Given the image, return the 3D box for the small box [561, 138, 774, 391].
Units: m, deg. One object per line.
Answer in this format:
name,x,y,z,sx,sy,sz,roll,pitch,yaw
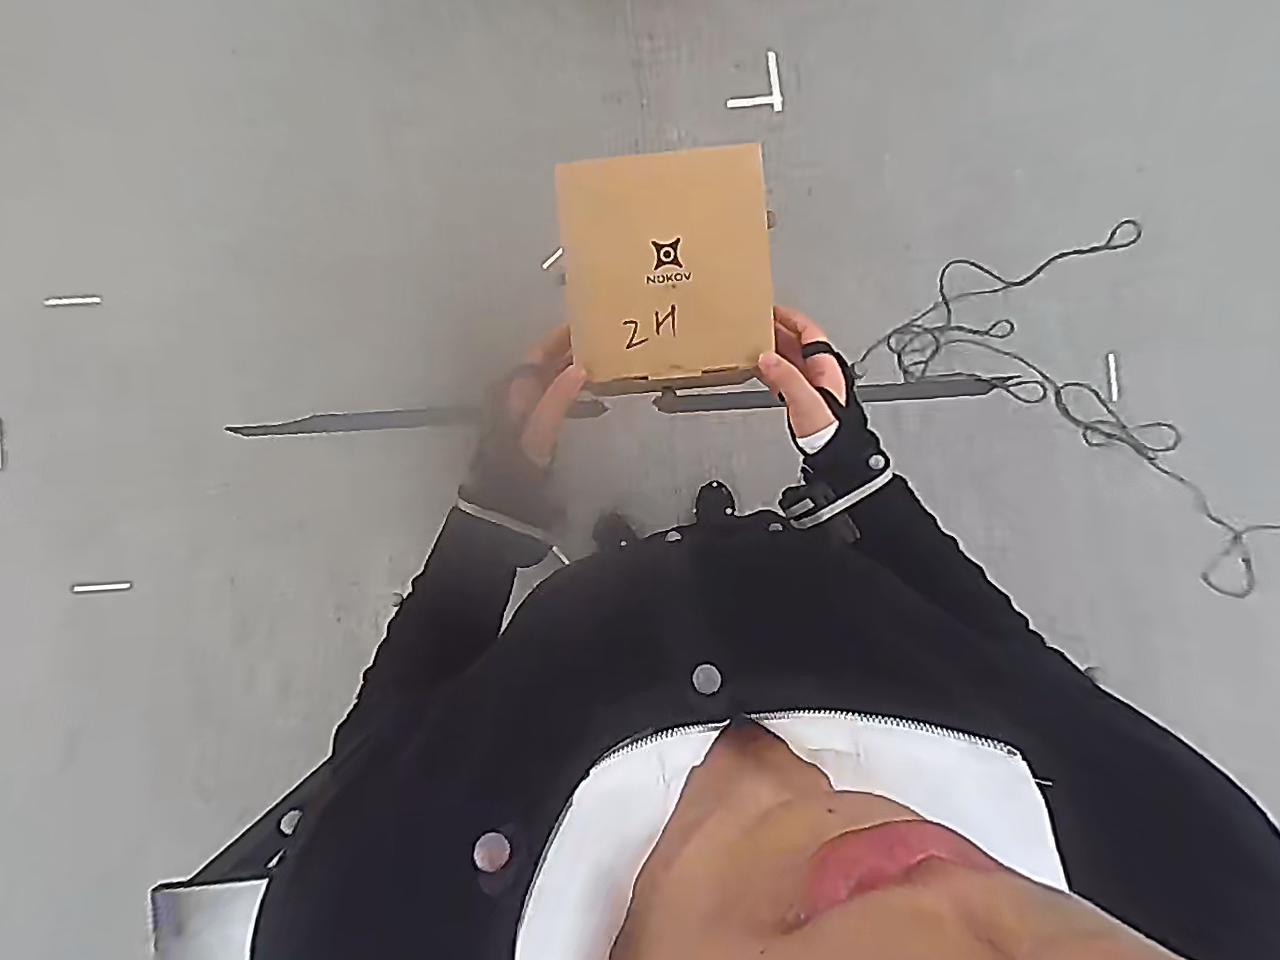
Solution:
small box,0.023,-0.185,0.514,0.168,0.176,0.179,-4,94,2
